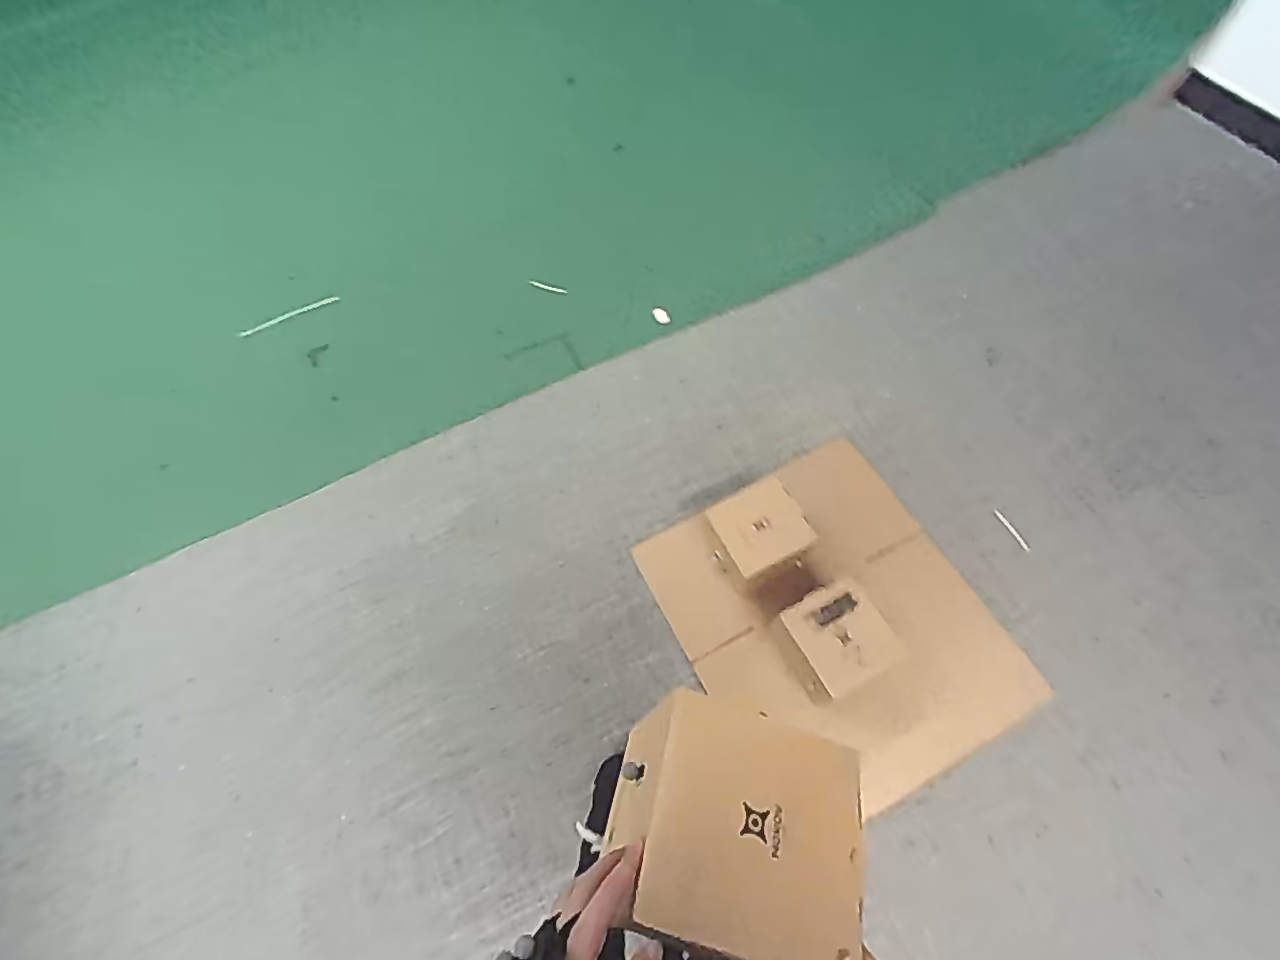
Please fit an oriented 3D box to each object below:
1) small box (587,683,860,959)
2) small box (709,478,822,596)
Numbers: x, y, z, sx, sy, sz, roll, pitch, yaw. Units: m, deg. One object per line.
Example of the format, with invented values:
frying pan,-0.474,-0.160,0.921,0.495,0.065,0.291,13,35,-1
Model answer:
small box,0.066,0.309,0.475,0.179,0.176,0.168,21,49,-4
small box,0.261,0.129,1.174,0.179,0.176,0.168,-27,65,-6
